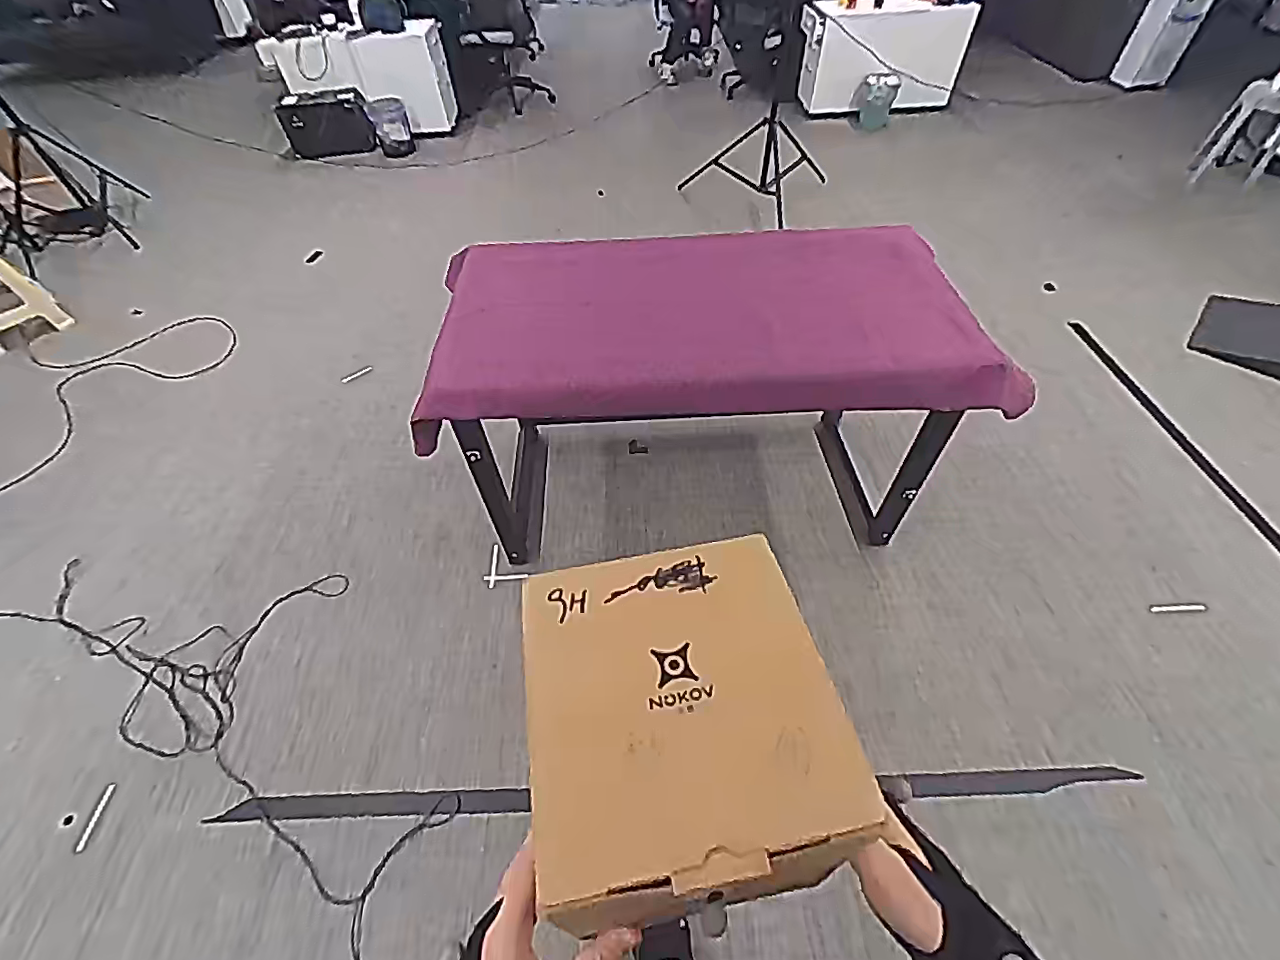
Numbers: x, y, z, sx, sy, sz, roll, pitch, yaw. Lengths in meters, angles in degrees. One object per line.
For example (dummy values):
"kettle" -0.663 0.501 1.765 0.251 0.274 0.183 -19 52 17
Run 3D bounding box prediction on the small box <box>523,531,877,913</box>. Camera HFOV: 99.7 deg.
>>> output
"small box" 0.022 0.163 0.359 0.168 0.176 0.179 -9 47 -6
